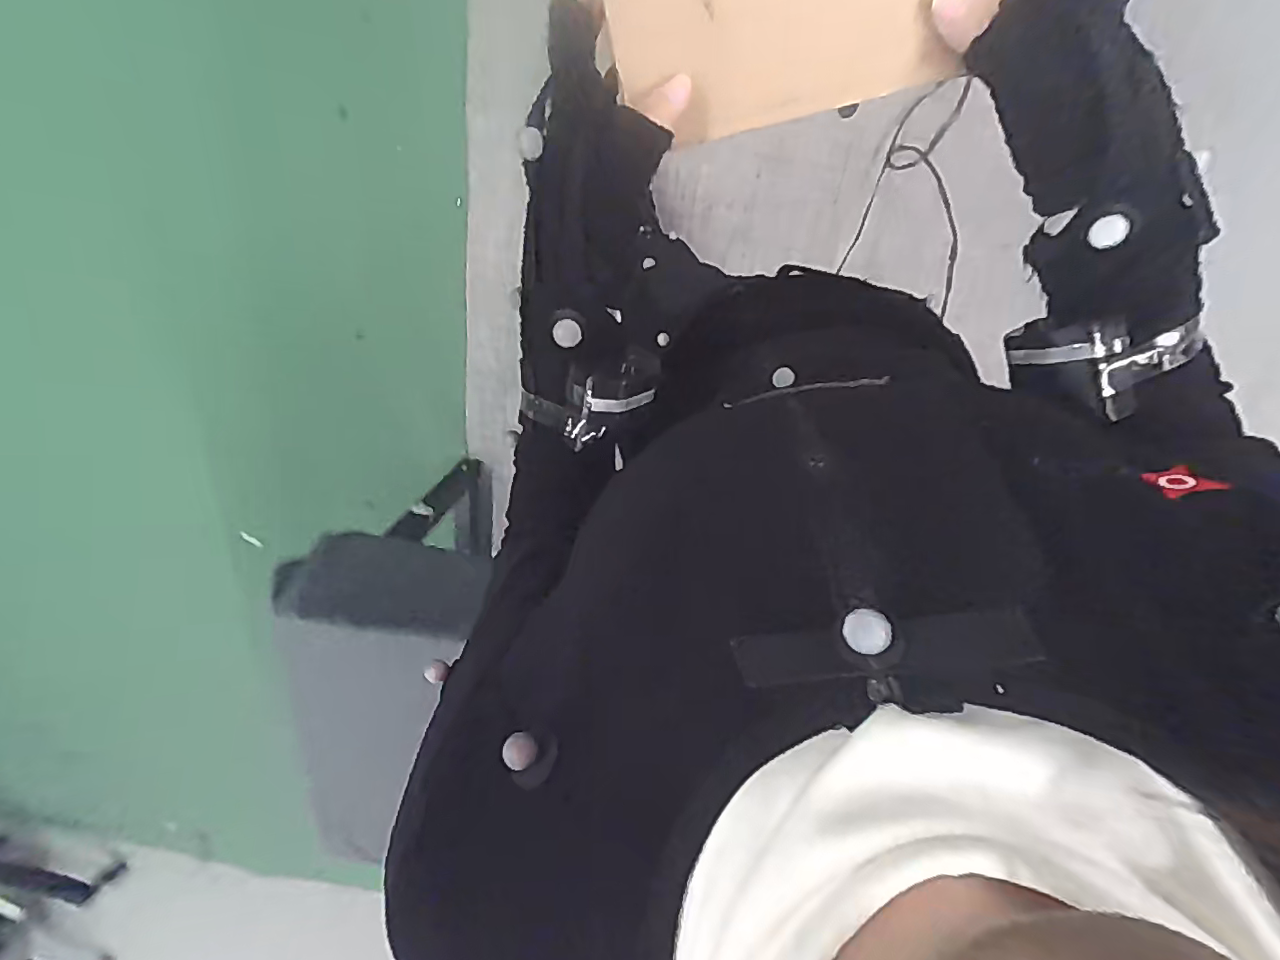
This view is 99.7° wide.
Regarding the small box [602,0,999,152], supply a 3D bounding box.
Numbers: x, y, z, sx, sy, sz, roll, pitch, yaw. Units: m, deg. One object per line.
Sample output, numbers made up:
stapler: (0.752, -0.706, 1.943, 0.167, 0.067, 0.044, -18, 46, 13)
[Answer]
small box: (0.063, -0.293, 0.280, 0.179, 0.176, 0.168, -10, 127, 8)
